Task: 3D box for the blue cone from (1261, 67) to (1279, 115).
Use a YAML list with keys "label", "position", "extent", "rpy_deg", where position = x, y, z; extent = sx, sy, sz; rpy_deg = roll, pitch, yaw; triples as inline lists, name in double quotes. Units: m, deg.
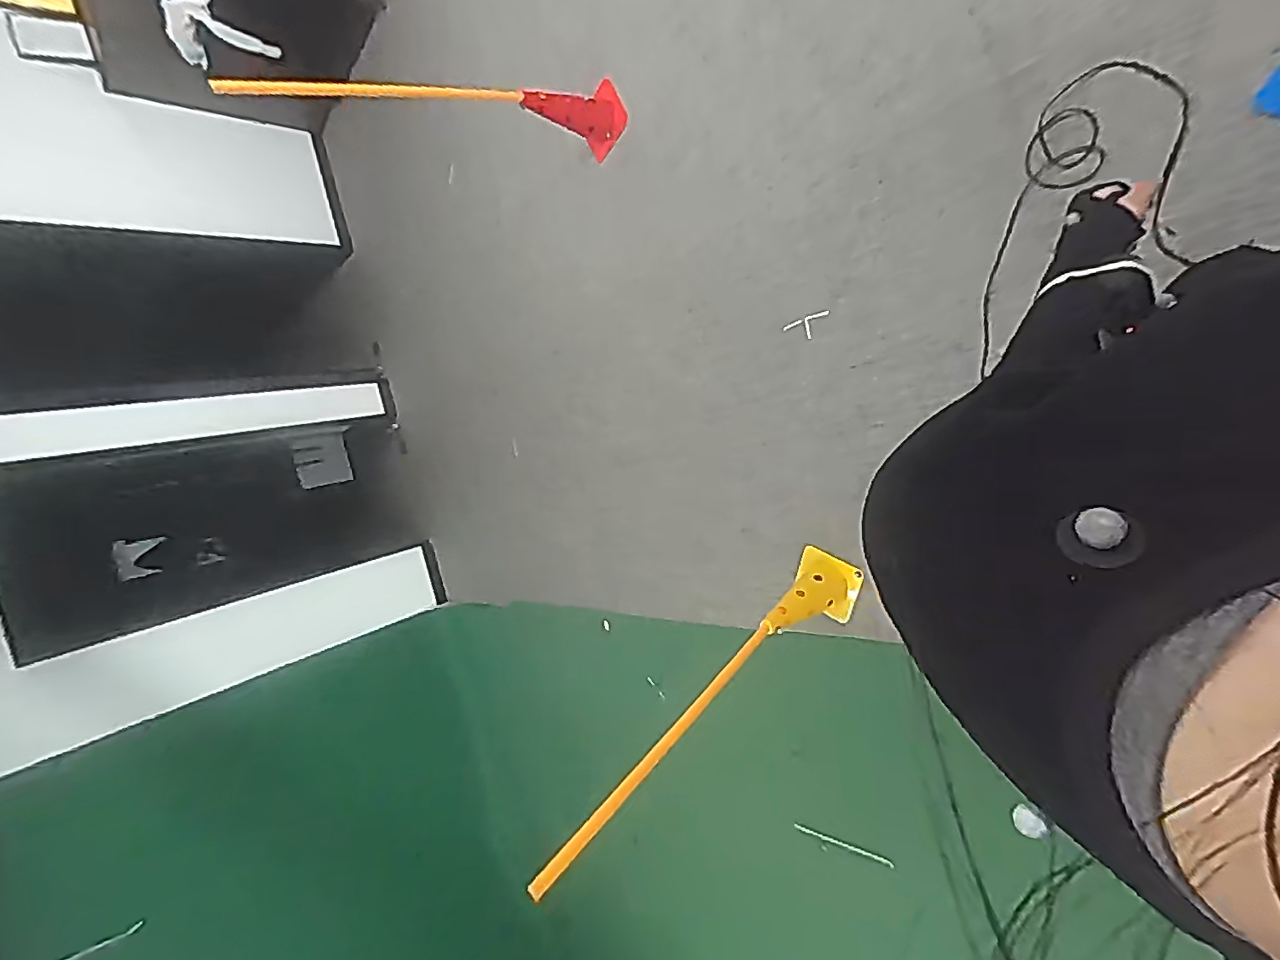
- label: "blue cone"
  position: [1.022, -0.631, 0.723]
  extent: [0.192, 0.380, 0.193]
  rpy_deg: [44, 127, 29]
